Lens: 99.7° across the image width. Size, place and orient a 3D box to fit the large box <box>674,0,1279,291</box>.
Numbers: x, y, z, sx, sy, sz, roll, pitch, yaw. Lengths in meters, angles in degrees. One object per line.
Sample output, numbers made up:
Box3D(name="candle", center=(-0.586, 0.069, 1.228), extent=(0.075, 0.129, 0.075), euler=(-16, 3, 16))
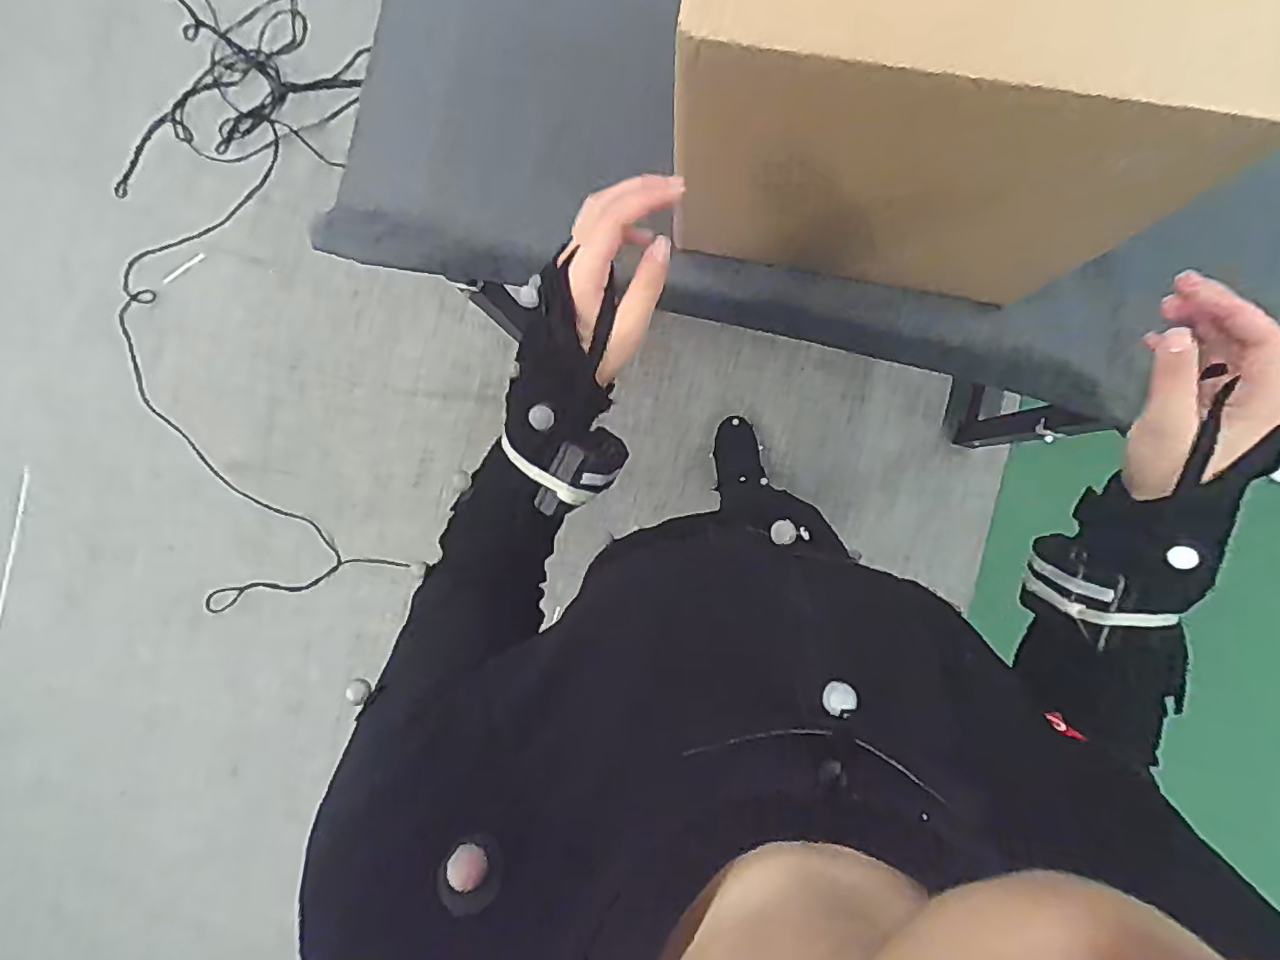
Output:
Box3D(name="large box", center=(0.254, -0.405, 0.500), extent=(0.408, 0.320, 0.320), euler=(11, 90, 2))
